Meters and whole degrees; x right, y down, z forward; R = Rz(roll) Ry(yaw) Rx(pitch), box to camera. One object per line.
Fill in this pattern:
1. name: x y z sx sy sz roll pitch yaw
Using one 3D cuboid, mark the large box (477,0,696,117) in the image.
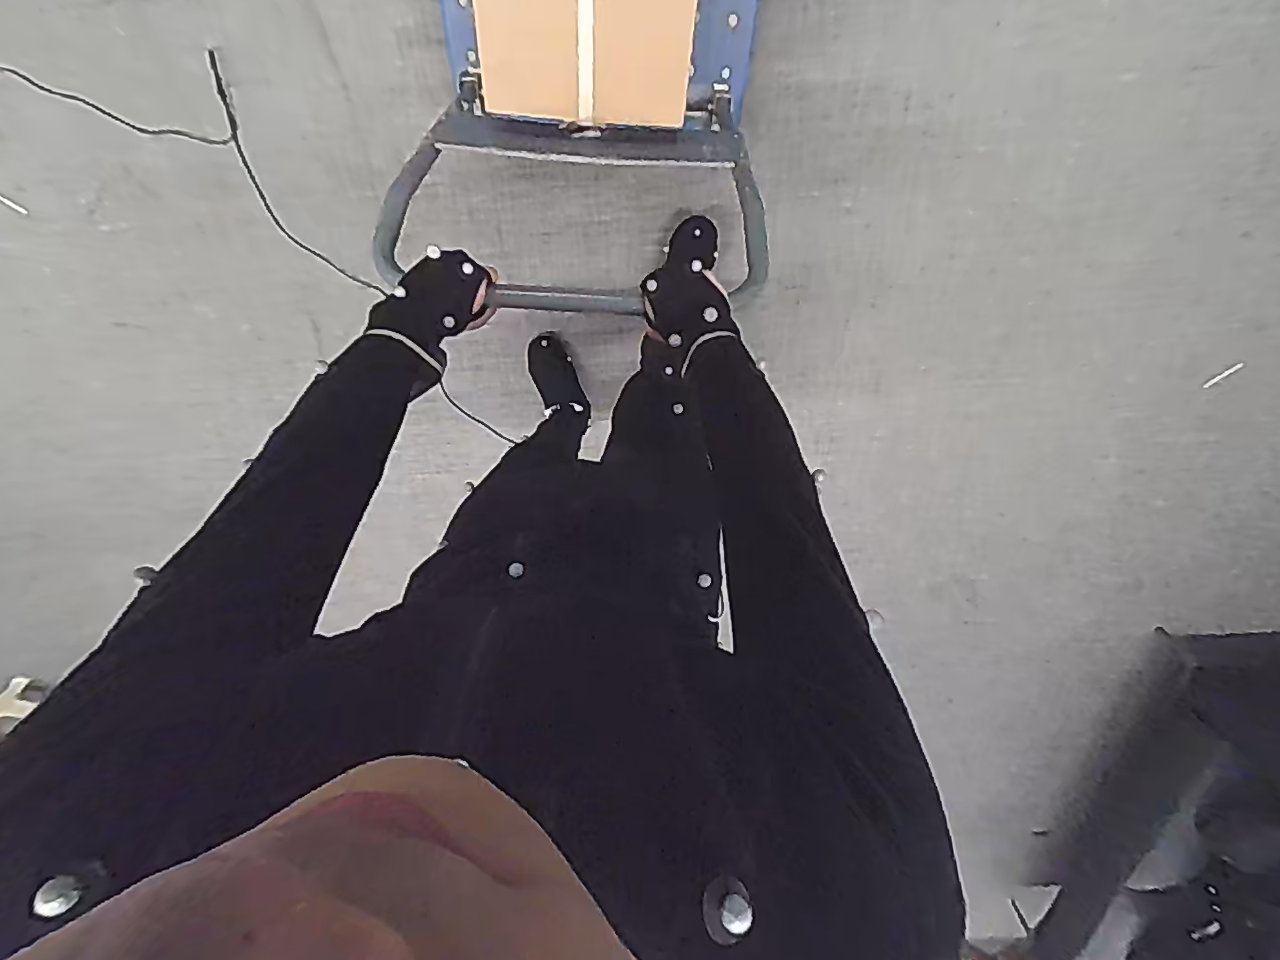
1. large box: -0.070 -0.827 0.824 0.320 0.320 0.408 3 135 -2
